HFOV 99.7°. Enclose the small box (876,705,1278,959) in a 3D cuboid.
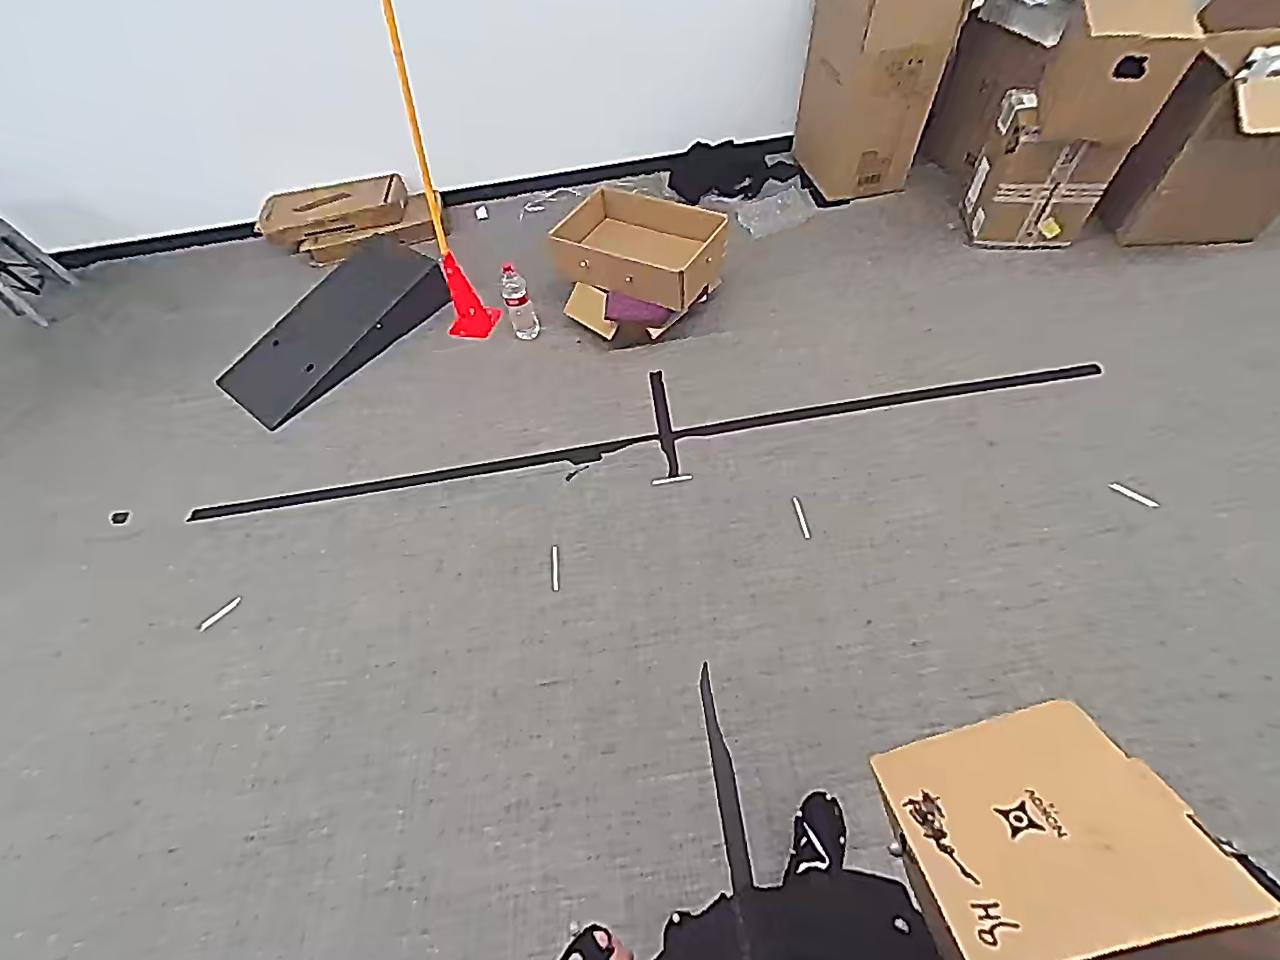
[{"bbox_3d":[0.317,0.318,0.423,0.179,0.176,0.168,-20,18,8],"label":"small box"}]
